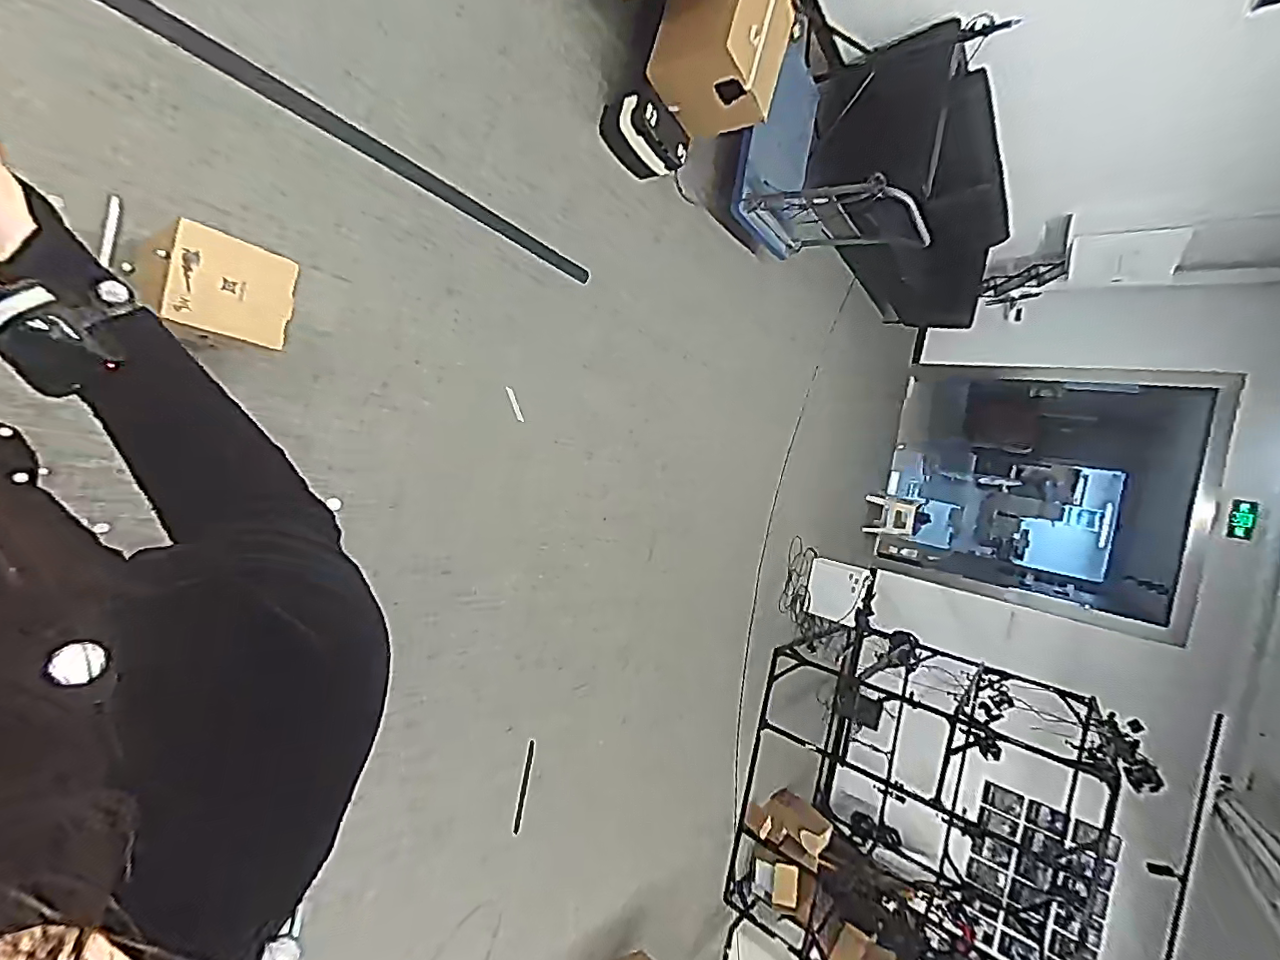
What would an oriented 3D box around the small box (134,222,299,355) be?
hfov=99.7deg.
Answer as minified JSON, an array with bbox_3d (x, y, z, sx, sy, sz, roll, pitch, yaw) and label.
[{"bbox_3d":[-0.752,-0.332,0.962,0.179,0.176,0.168,13,88,-54],"label":"small box"}]

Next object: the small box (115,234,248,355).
[{"bbox_3d":[-0.881,-0.356,1.061,0.179,0.176,0.168,15,87,-53],"label":"small box"}]
